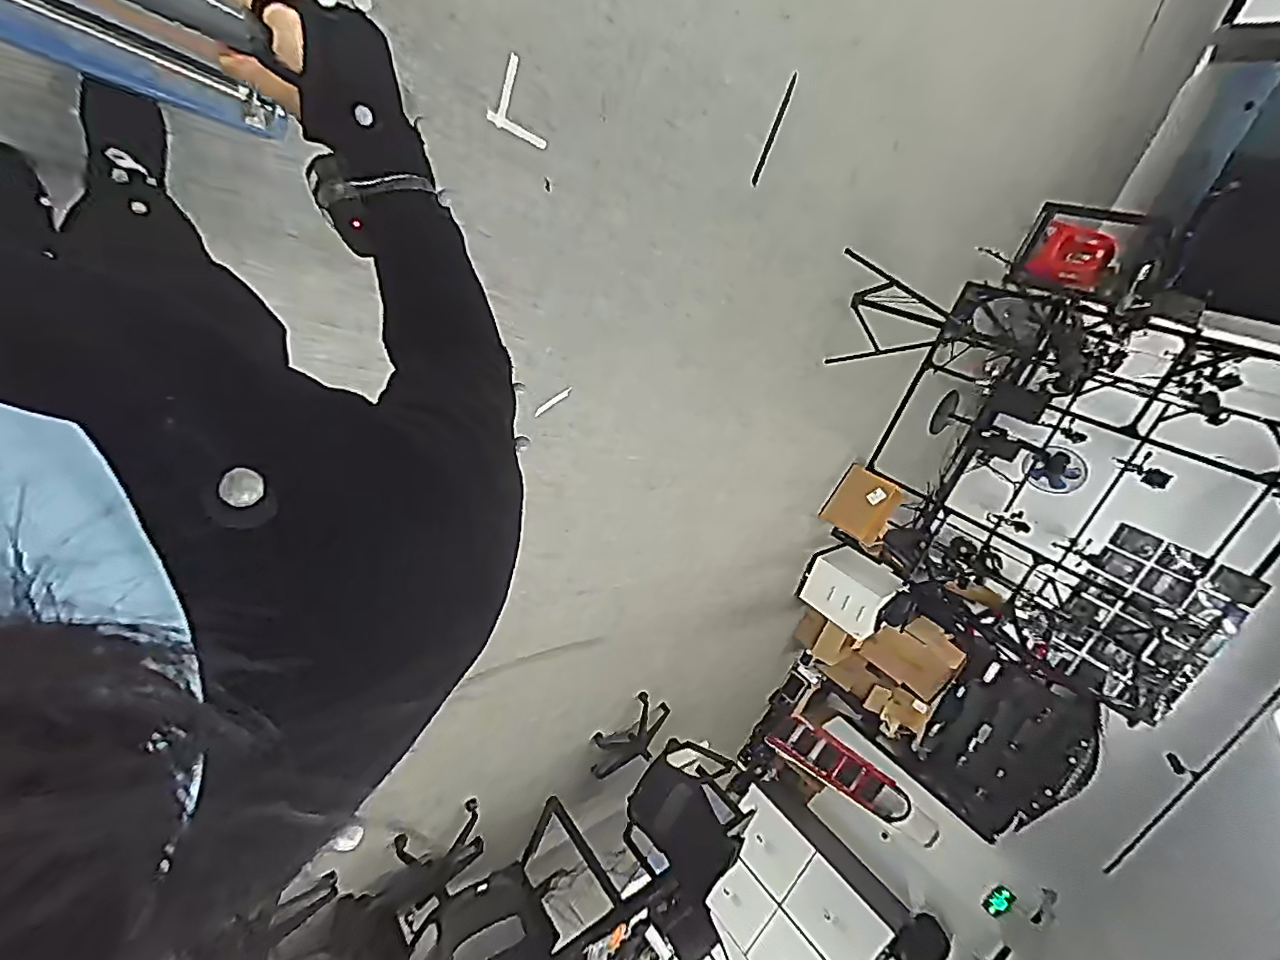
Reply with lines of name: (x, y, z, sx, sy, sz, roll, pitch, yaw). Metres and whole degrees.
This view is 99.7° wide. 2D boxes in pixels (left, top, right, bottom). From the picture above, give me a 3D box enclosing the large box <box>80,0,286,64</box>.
large box: (-0.649, -0.737, 0.591, 0.408, 0.320, 0.320, 0, 117, -48)
